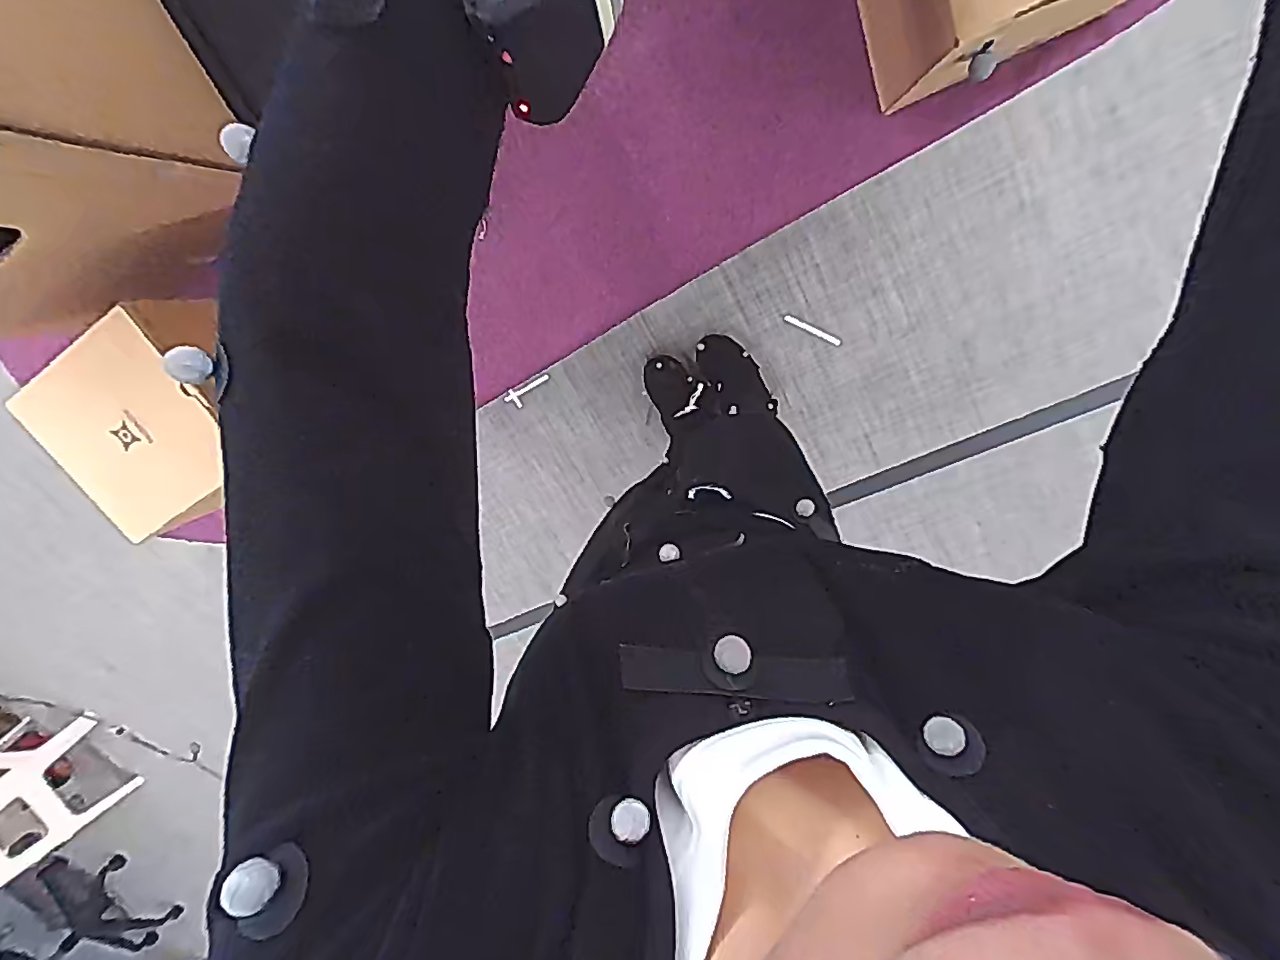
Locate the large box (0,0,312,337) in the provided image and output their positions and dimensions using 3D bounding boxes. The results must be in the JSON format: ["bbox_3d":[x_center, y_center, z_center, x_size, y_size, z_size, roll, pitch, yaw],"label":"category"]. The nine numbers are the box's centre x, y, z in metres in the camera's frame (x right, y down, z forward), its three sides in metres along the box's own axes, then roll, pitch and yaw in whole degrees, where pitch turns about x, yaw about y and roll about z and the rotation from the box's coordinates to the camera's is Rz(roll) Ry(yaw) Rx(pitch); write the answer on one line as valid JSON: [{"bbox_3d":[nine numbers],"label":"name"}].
[{"bbox_3d":[-0.575,-0.357,0.406,0.320,0.320,0.408,-25,109,18],"label":"large box"}]
